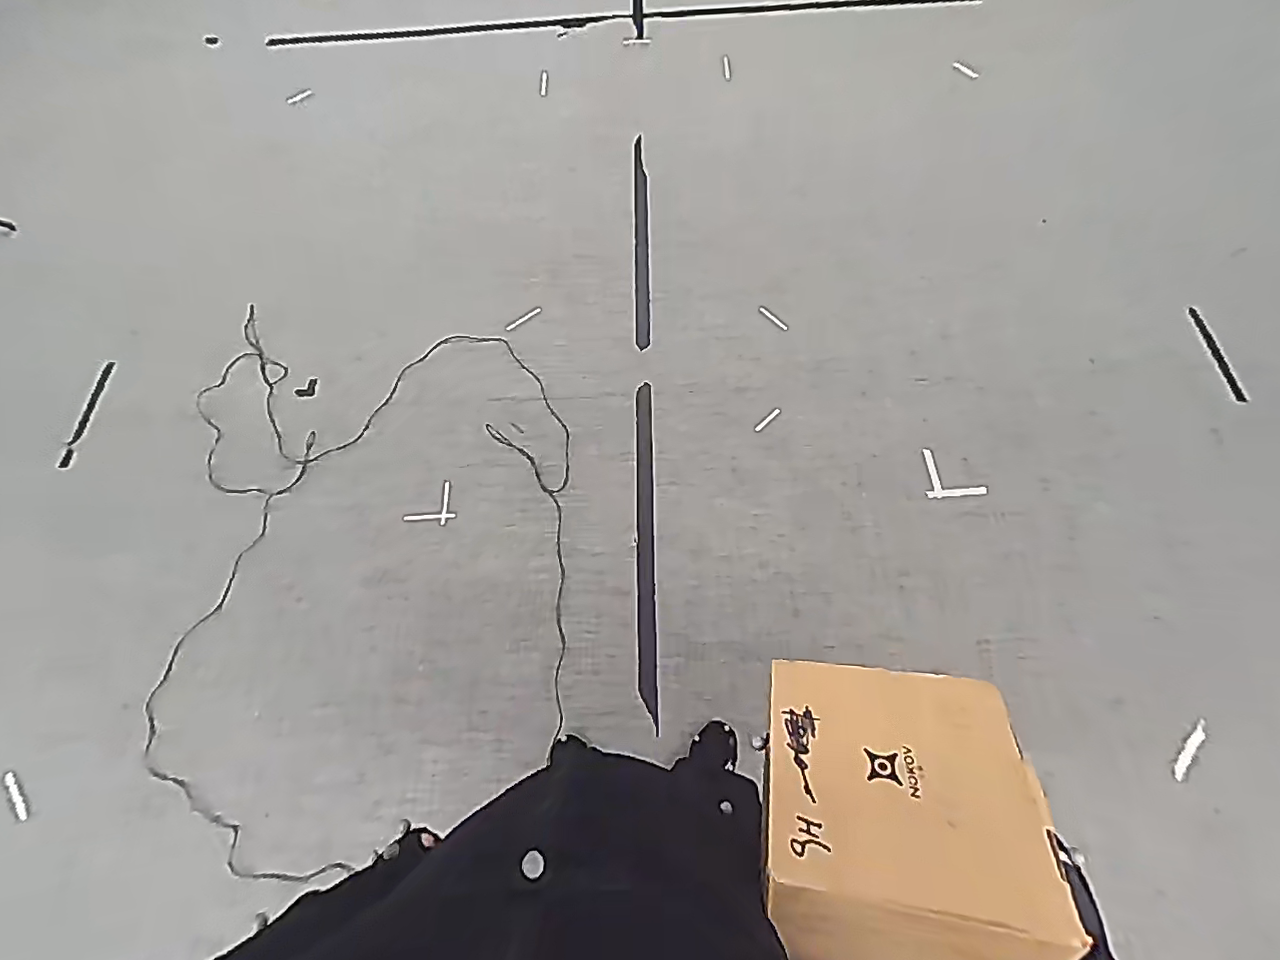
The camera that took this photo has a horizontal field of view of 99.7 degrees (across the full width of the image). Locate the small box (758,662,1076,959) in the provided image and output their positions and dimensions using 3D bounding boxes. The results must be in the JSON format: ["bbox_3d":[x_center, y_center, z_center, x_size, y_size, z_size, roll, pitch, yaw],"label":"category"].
[{"bbox_3d":[0.193,0.279,0.438,0.179,0.176,0.168,4,35,13],"label":"small box"}]
